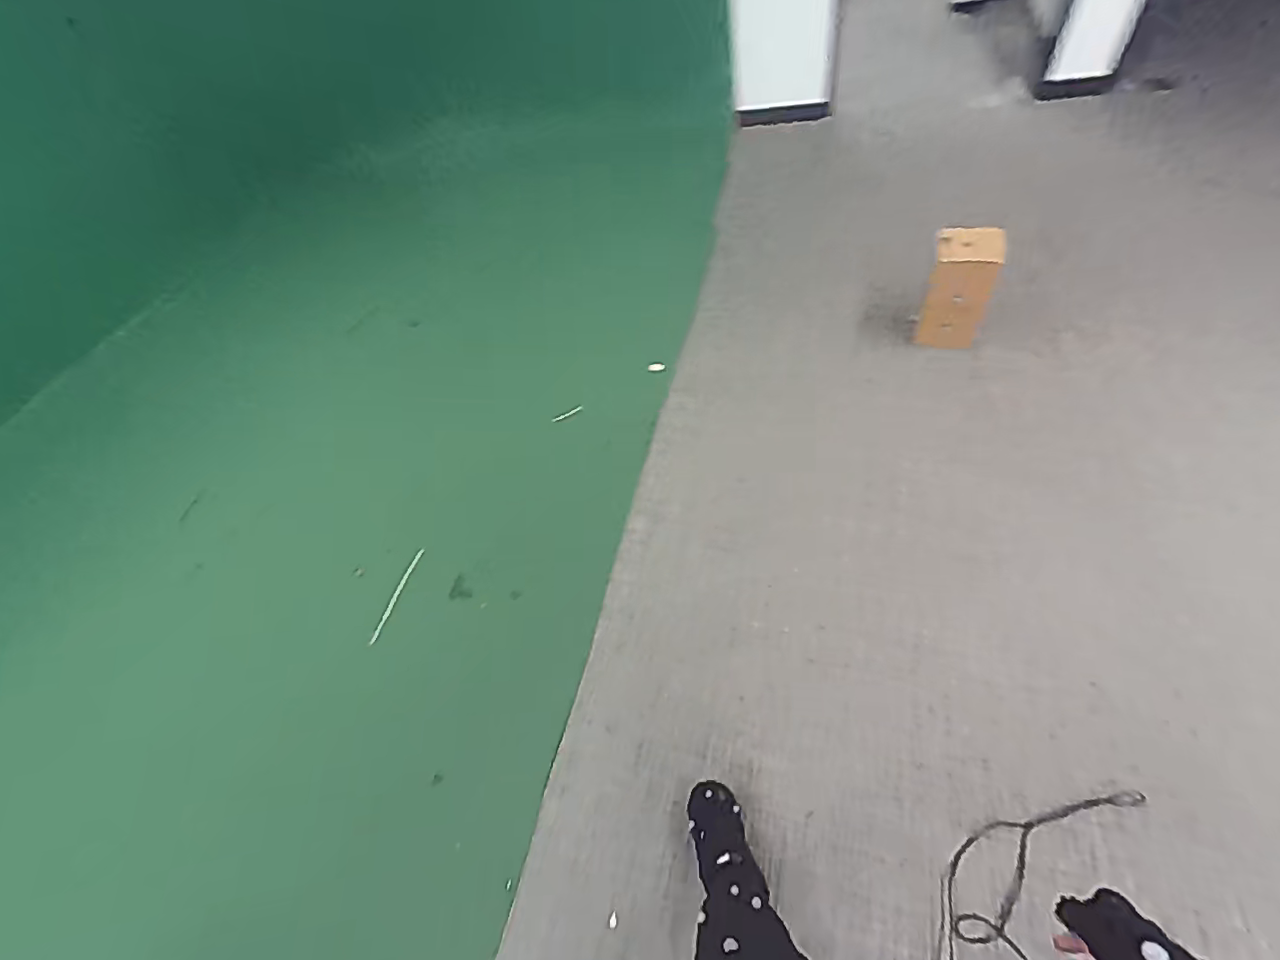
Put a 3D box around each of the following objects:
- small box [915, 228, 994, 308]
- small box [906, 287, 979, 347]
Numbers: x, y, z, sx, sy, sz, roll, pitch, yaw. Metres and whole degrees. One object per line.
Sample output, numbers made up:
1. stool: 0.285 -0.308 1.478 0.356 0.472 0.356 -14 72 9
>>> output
1. small box: 0.975 -0.657 1.684 0.179 0.176 0.168 9 59 18
2. small box: 1.007 -0.564 1.814 0.179 0.176 0.168 6 58 16
